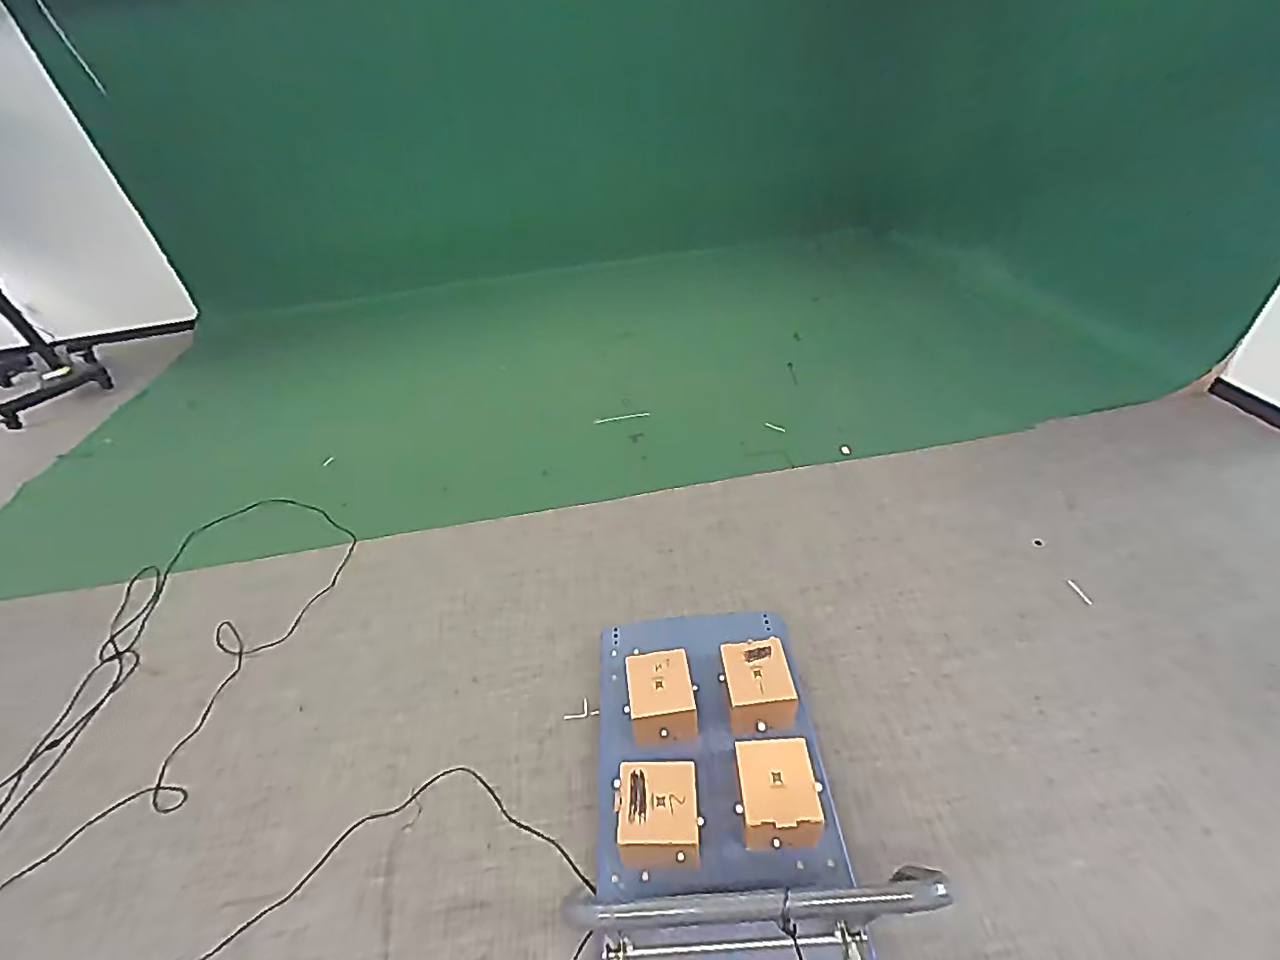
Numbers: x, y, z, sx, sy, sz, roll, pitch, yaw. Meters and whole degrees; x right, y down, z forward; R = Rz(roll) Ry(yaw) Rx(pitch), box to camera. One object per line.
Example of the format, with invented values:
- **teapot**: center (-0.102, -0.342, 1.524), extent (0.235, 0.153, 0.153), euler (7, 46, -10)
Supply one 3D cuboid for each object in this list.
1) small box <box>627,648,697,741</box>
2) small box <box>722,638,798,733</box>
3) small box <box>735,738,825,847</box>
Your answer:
- **small box**: center (0.060, 0.584, 1.458), extent (0.168, 0.176, 0.179), euler (-7, 41, -1)
- **small box**: center (0.316, 0.553, 1.455), extent (0.168, 0.176, 0.179), euler (-7, 42, 1)
- **small box**: center (0.316, 0.727, 1.259), extent (0.168, 0.176, 0.179), euler (-5, 41, 3)
